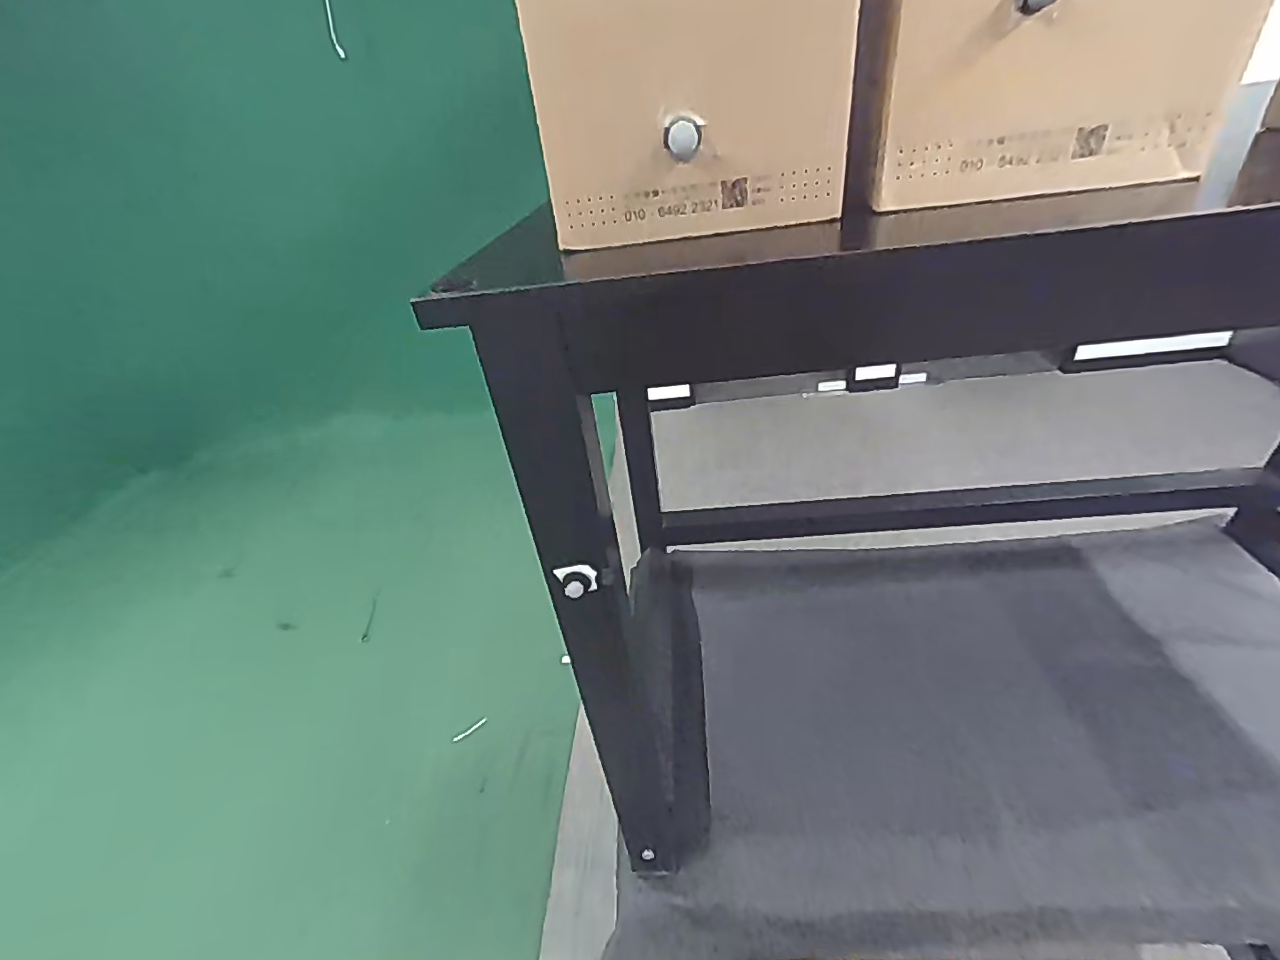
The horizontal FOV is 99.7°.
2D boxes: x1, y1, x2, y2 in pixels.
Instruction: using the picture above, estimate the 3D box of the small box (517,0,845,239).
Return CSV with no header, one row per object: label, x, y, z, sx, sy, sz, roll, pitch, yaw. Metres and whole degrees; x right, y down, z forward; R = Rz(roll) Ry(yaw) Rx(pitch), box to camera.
small box,0.022,-0.261,0.344,0.168,0.176,0.179,-5,34,5
